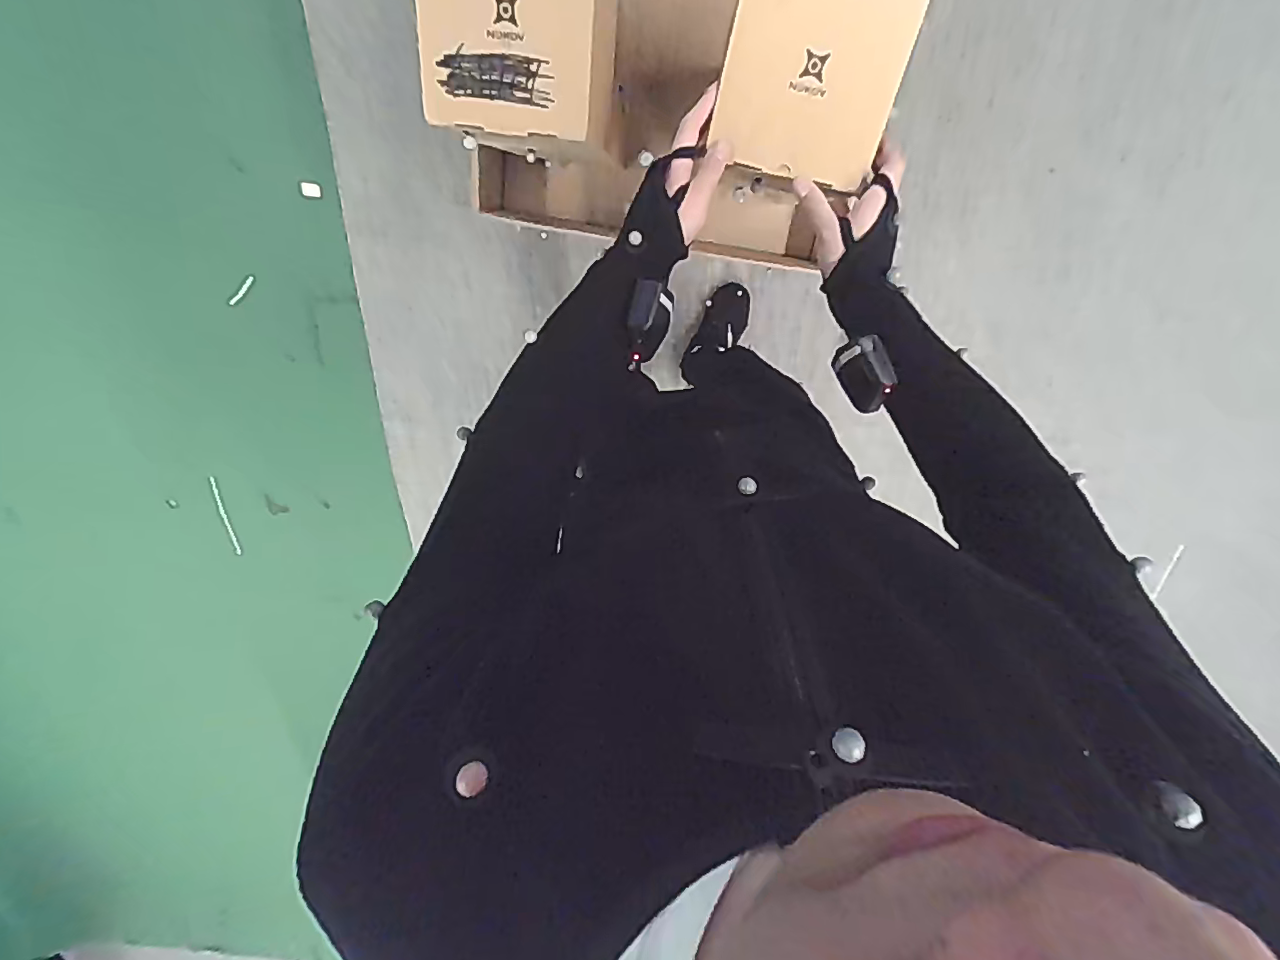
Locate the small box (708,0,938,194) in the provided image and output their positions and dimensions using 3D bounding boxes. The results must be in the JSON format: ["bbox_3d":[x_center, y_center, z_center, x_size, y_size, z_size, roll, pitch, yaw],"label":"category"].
[{"bbox_3d":[0.170,-0.413,0.564,0.168,0.176,0.179,13,117,-1],"label":"small box"}]

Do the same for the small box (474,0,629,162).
[{"bbox_3d":[-0.108,-0.531,0.705,0.168,0.176,0.179,7,117,2],"label":"small box"}]

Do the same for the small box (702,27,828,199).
[{"bbox_3d":[0.180,-0.483,0.710,0.168,0.176,0.179,12,117,-1],"label":"small box"}]
